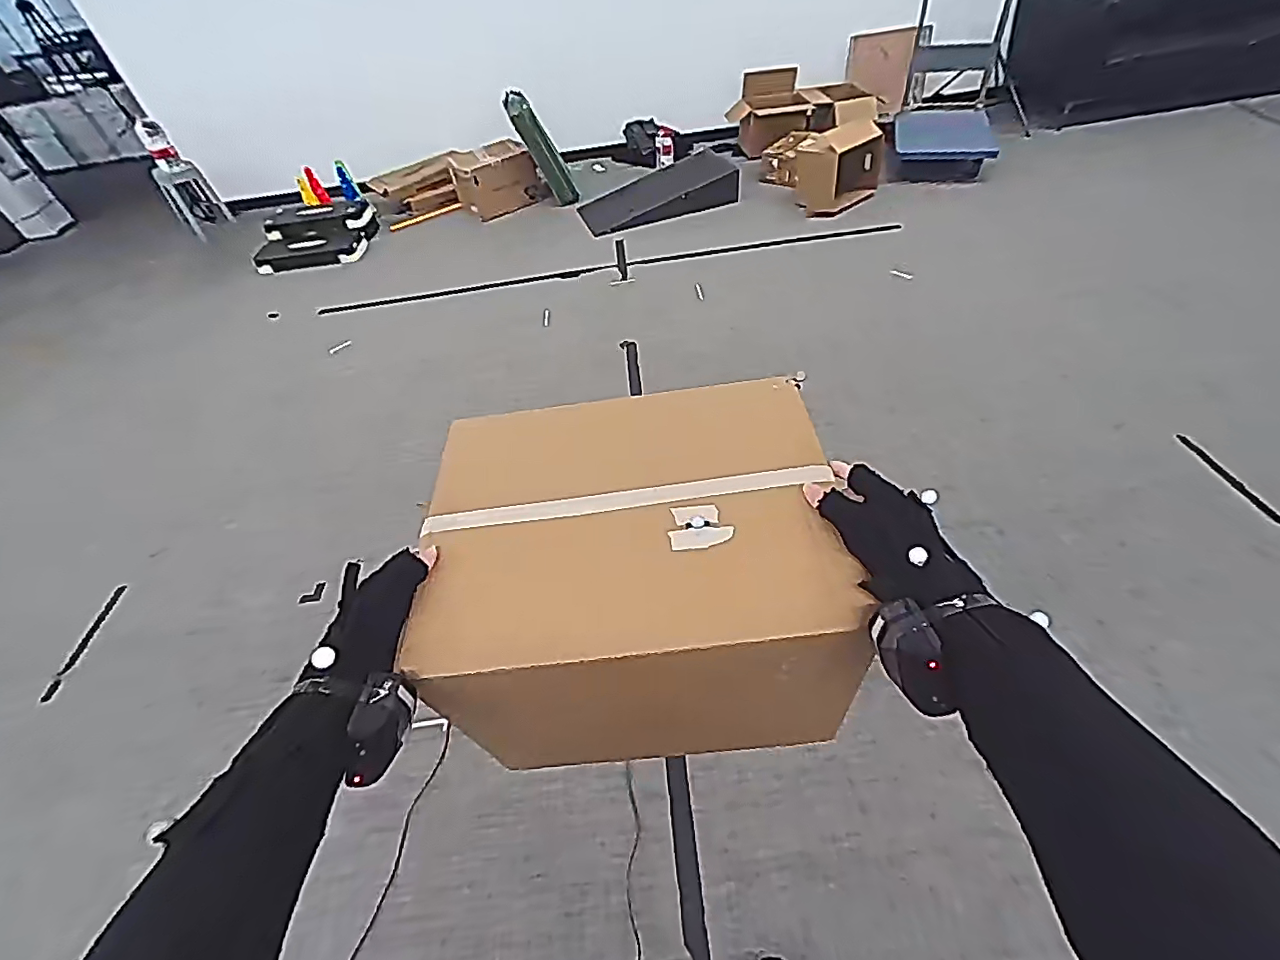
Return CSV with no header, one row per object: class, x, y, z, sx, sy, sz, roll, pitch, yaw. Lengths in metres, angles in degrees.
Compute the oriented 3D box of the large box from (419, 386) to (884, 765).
large box,0.011,0.123,0.659,0.408,0.320,0.320,-7,49,2
